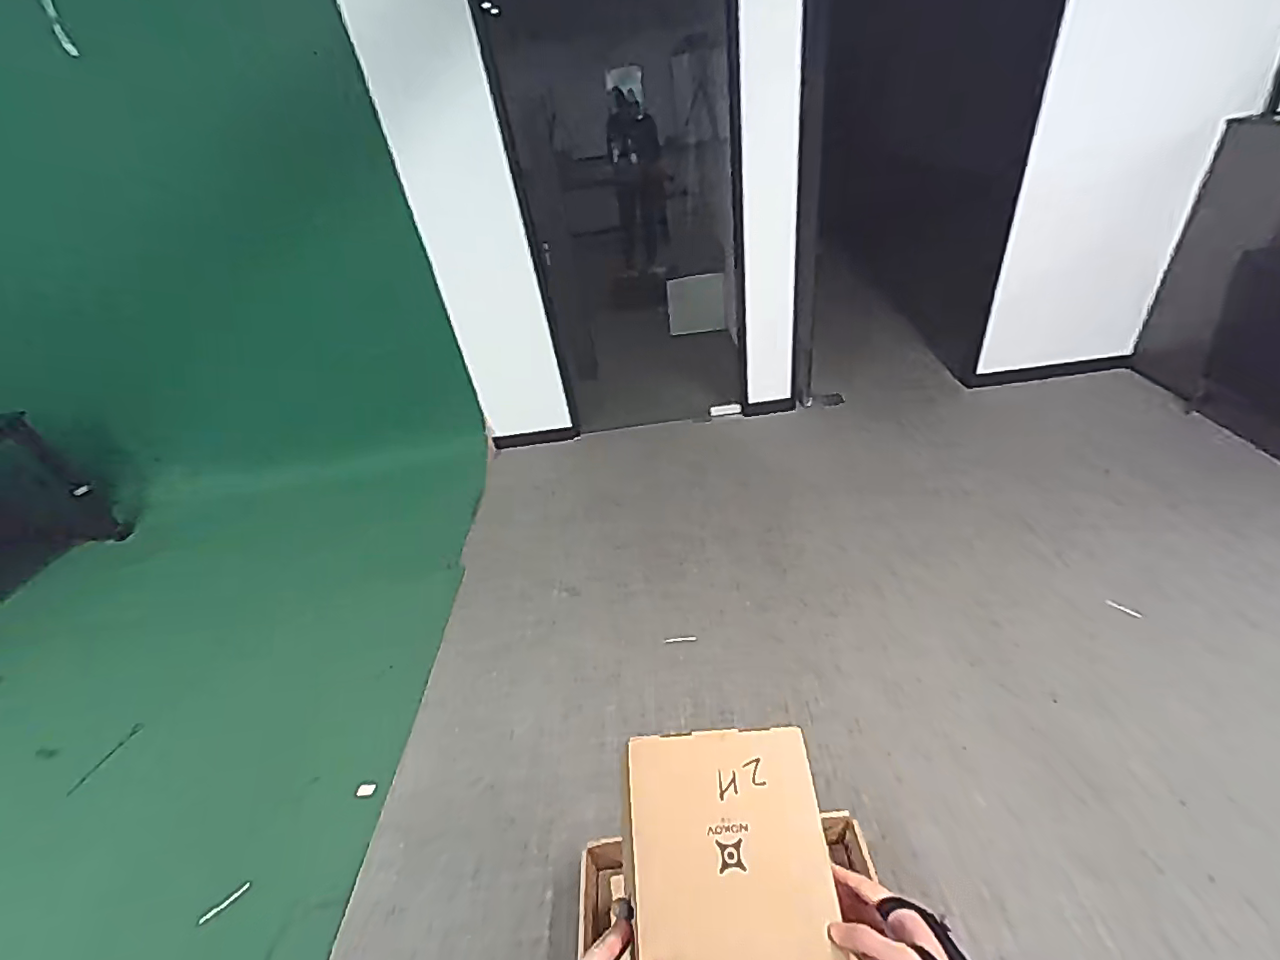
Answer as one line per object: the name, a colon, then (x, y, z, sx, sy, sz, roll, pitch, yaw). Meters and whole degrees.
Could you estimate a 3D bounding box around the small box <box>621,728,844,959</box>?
small box: (0.069, 0.351, 0.524, 0.168, 0.176, 0.179, -1, 56, -6)

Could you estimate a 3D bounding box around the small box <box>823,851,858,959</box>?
small box: (0.323, 0.900, 1.106, 0.179, 0.176, 0.168, -12, 37, -2)
